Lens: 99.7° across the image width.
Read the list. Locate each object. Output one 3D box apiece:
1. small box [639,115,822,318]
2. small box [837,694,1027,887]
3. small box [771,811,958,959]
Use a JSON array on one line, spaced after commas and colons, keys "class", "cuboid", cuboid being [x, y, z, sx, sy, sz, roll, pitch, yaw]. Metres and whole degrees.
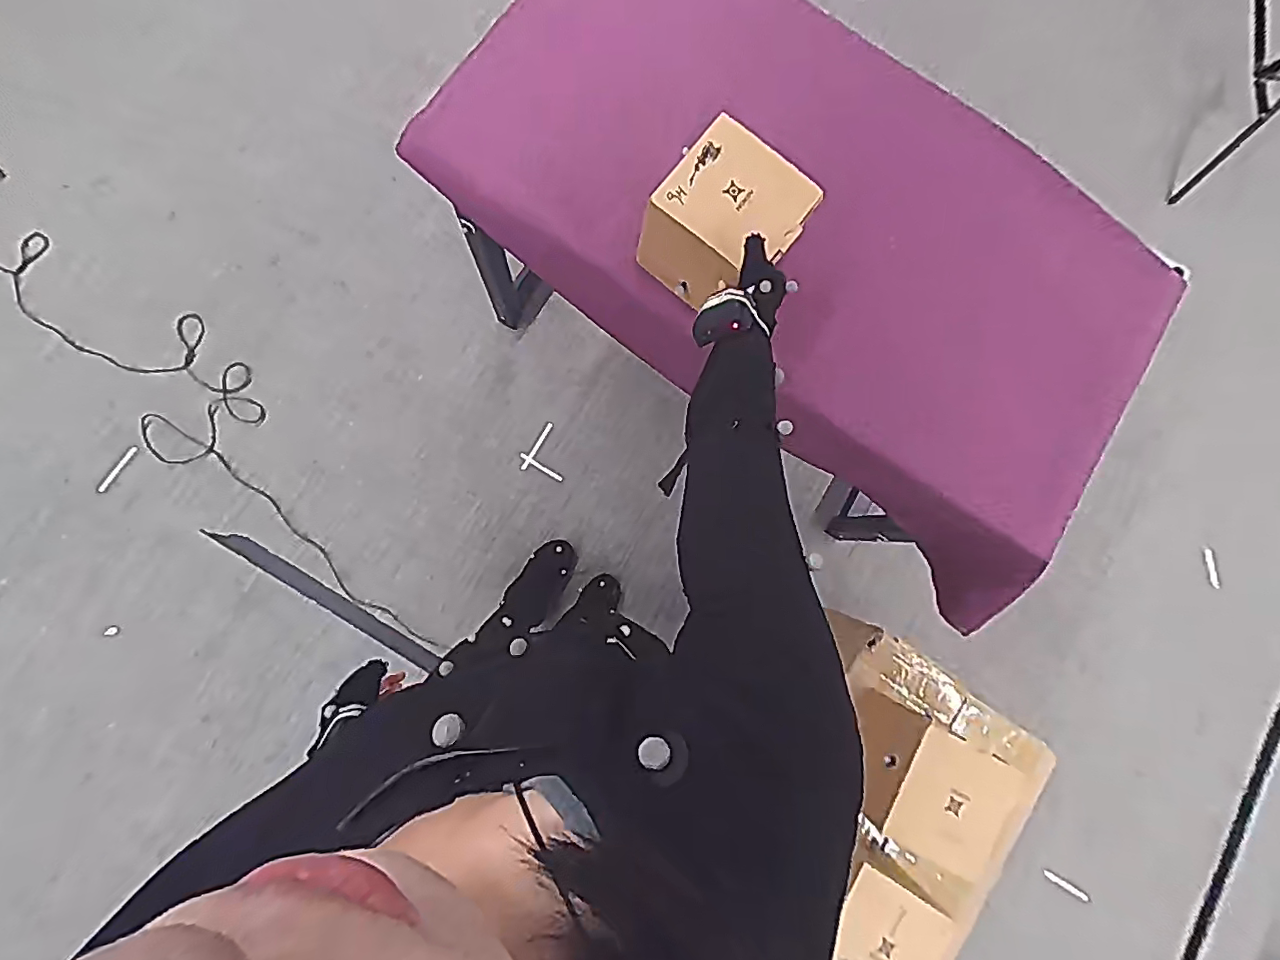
[{"class": "small box", "cuboid": [0.119, -0.361, 0.784, 0.179, 0.176, 0.168, 38, 81, -2]}, {"class": "small box", "cuboid": [0.439, 0.464, 0.842, 0.168, 0.176, 0.179, 29, 83, -1]}, {"class": "small box", "cuboid": [0.318, 0.650, 0.808, 0.168, 0.176, 0.179, 34, 80, -1]}]
